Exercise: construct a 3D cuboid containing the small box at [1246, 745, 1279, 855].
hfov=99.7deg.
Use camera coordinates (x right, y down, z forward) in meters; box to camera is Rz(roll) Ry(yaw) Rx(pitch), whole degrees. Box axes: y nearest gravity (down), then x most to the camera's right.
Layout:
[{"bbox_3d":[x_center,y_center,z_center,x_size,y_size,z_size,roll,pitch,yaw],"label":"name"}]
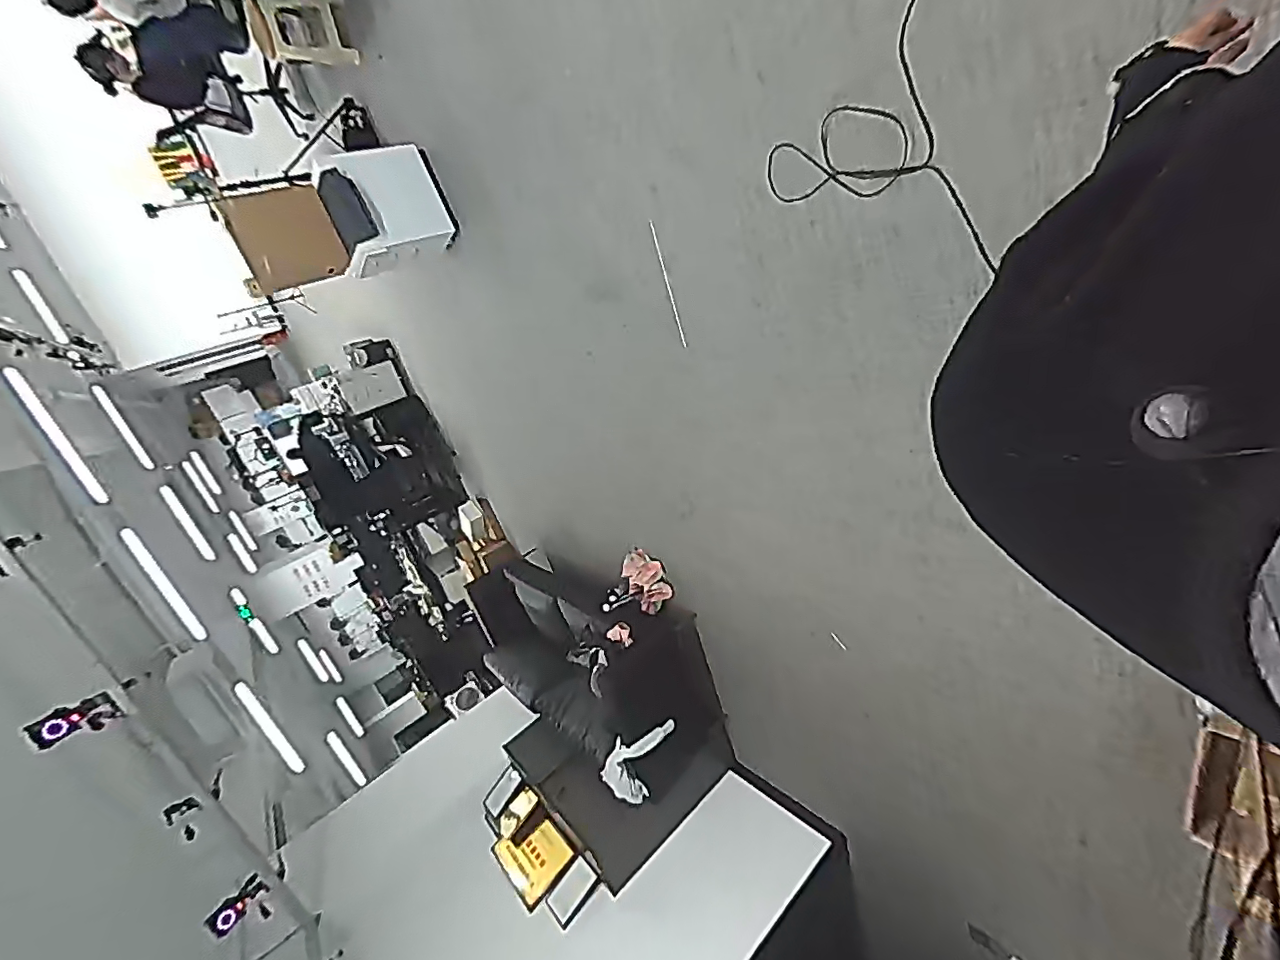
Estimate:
[{"bbox_3d":[1.468,0.719,1.176,0.179,0.176,0.168,9,122,50],"label":"small box"}]
